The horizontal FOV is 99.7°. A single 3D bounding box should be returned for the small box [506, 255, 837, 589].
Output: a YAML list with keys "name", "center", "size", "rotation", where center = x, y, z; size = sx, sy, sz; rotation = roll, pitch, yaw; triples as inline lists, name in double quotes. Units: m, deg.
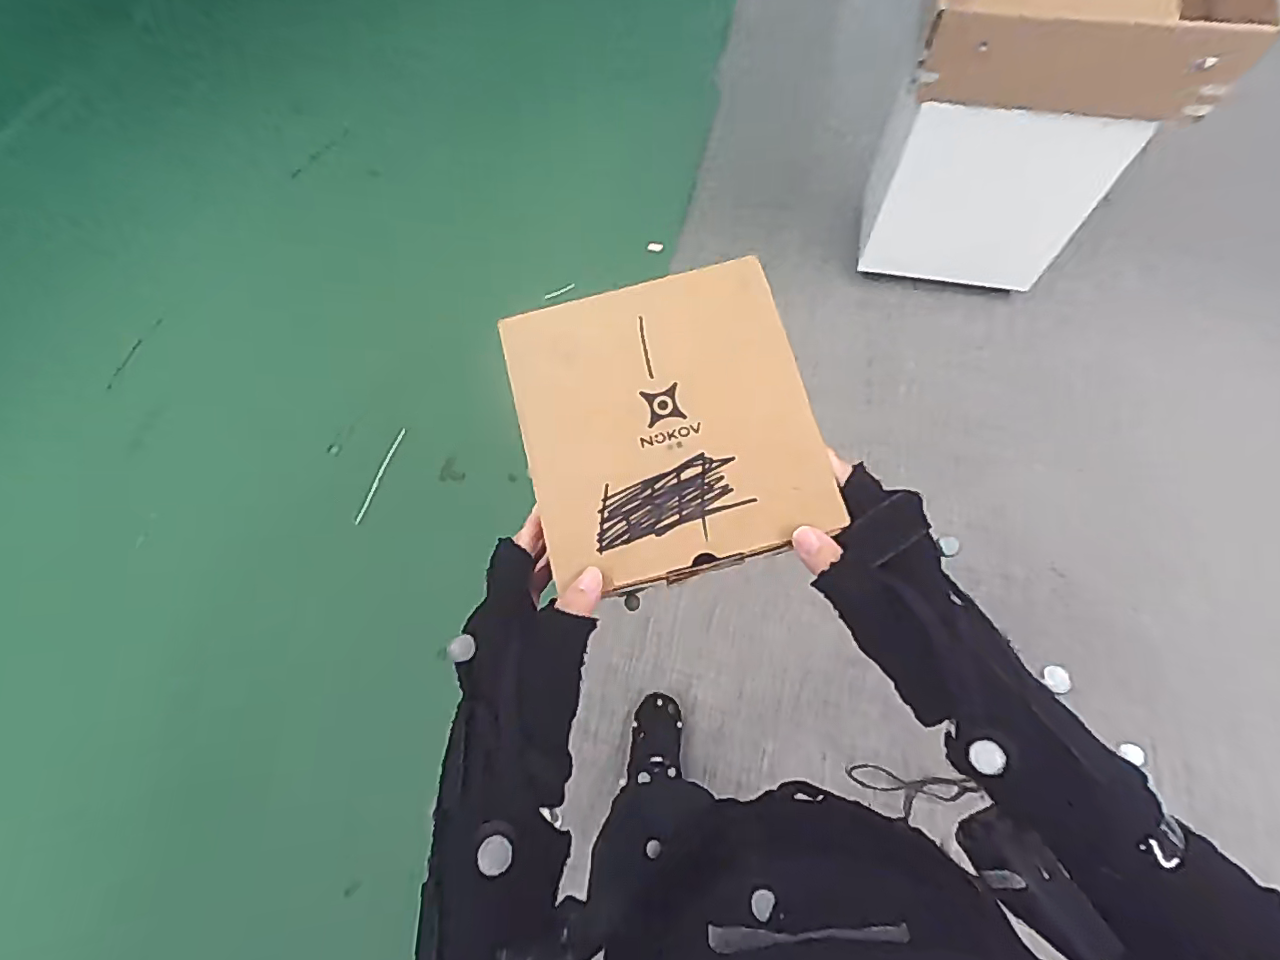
- name: "small box"
  center: [0.018, -0.024, 0.395]
  size: [0.168, 0.176, 0.179]
  rotation: [-13, 78, -1]
